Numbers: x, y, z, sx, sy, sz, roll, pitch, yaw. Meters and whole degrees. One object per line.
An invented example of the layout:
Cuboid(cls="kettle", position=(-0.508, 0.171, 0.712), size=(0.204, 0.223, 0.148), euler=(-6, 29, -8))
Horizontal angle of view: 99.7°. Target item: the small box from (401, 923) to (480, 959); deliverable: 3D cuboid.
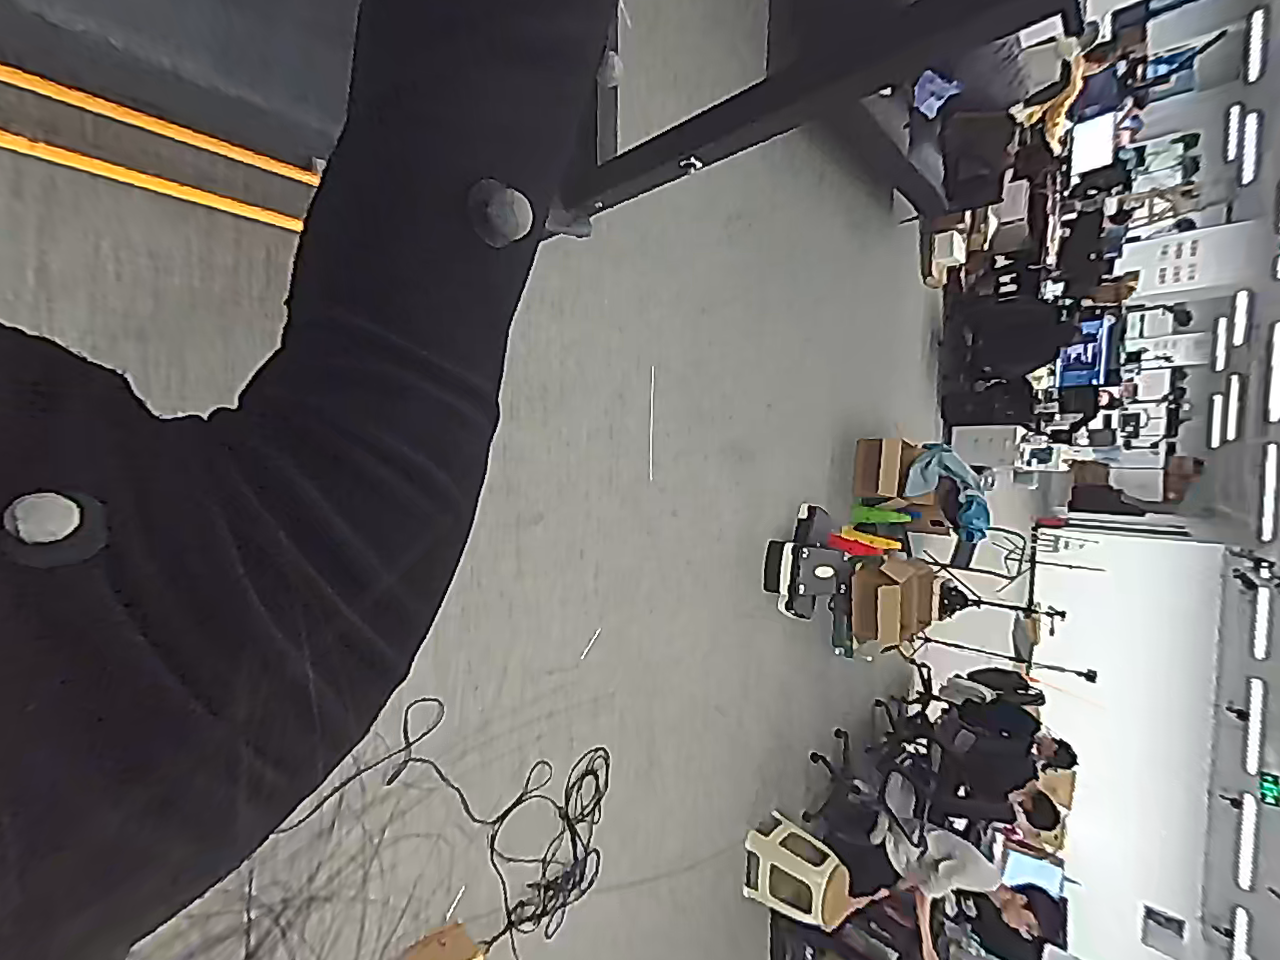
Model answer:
Cuboid(cls="small box", position=(-0.584, 1.467, 1.579), size=(0.168, 0.176, 0.179), euler=(-2, 93, -48))
